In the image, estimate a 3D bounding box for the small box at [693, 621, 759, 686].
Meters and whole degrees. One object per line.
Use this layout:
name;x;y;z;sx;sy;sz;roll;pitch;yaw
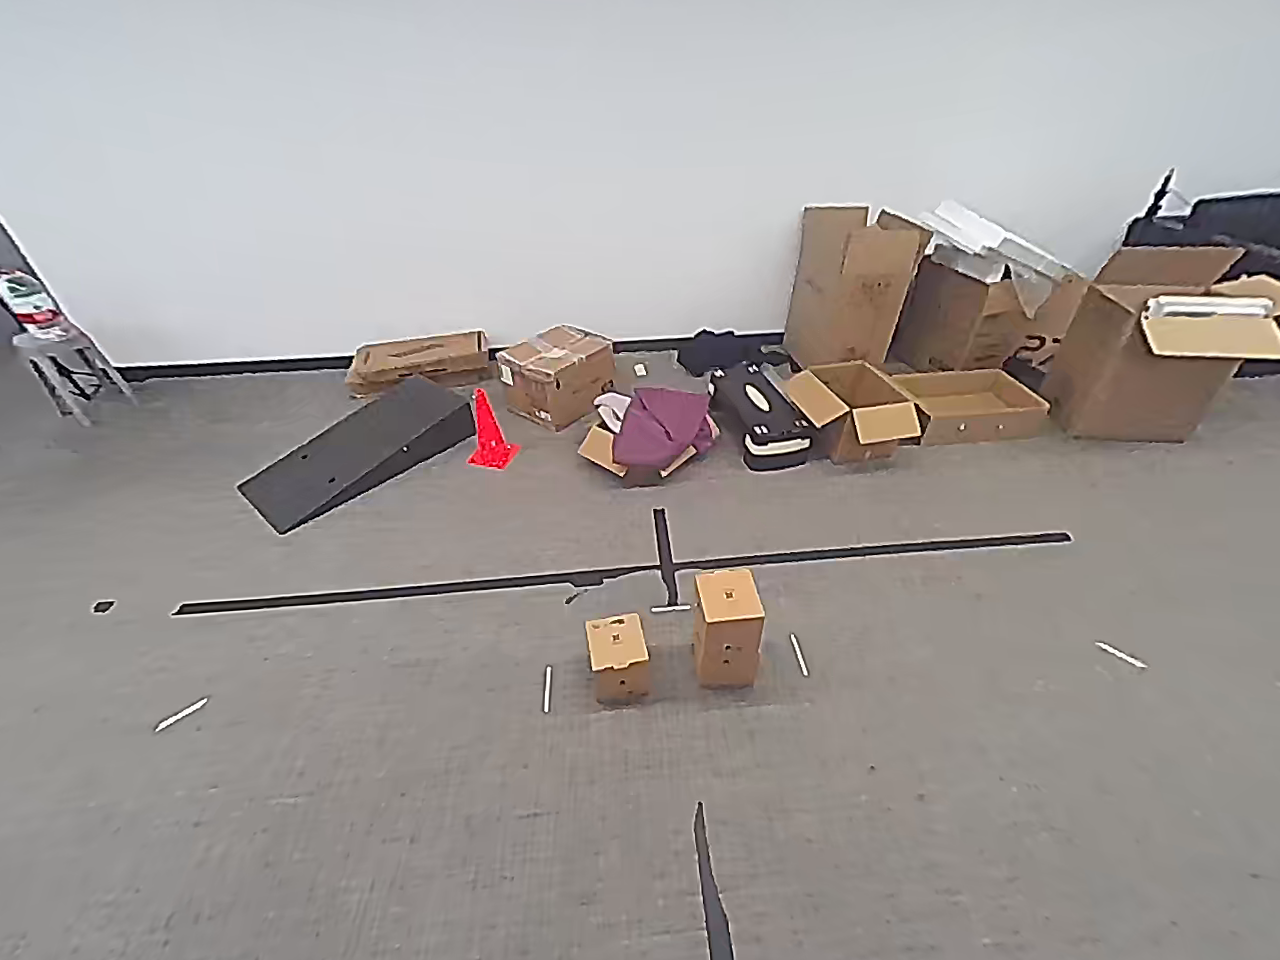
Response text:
small box;0.258;0.518;1.667;0.179;0.176;0.168;-1;38;-2

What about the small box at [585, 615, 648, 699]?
small box;-0.070;0.543;1.642;0.168;0.176;0.179;-8;39;-8

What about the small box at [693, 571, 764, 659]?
small box;0.249;0.390;1.568;0.168;0.176;0.179;-6;40;-4
